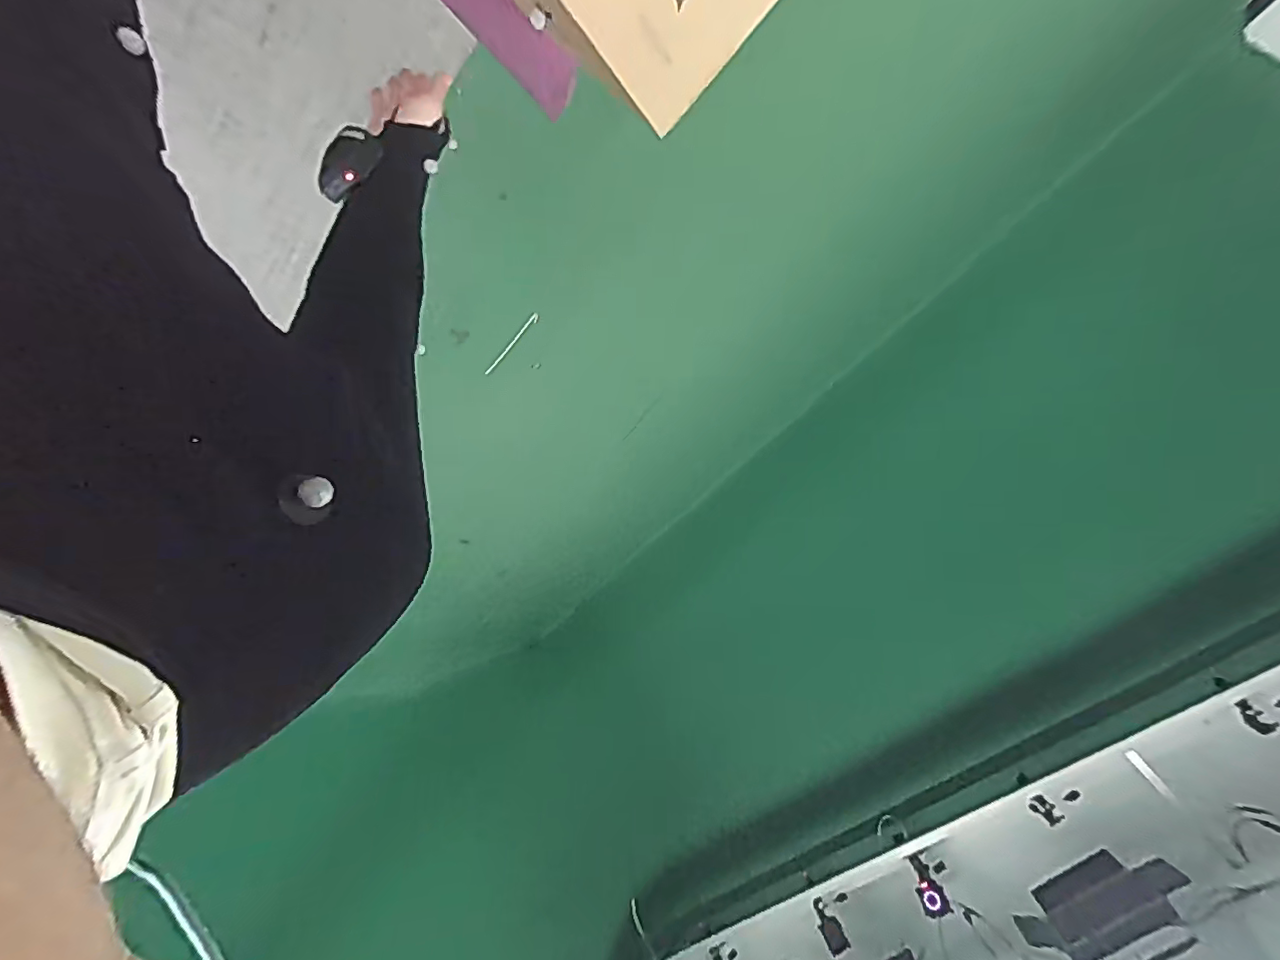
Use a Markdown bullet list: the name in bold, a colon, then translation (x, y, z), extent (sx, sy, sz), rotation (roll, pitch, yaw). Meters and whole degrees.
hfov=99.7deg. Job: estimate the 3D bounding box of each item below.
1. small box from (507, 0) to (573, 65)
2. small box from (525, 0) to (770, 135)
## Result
- **small box**: translation (-0.093, -0.596, 0.563), extent (0.168, 0.176, 0.179), rotation (-45, 152, 16)
- **small box**: translation (-0.007, -0.477, 0.492), extent (0.179, 0.176, 0.168), rotation (-43, 151, 18)
